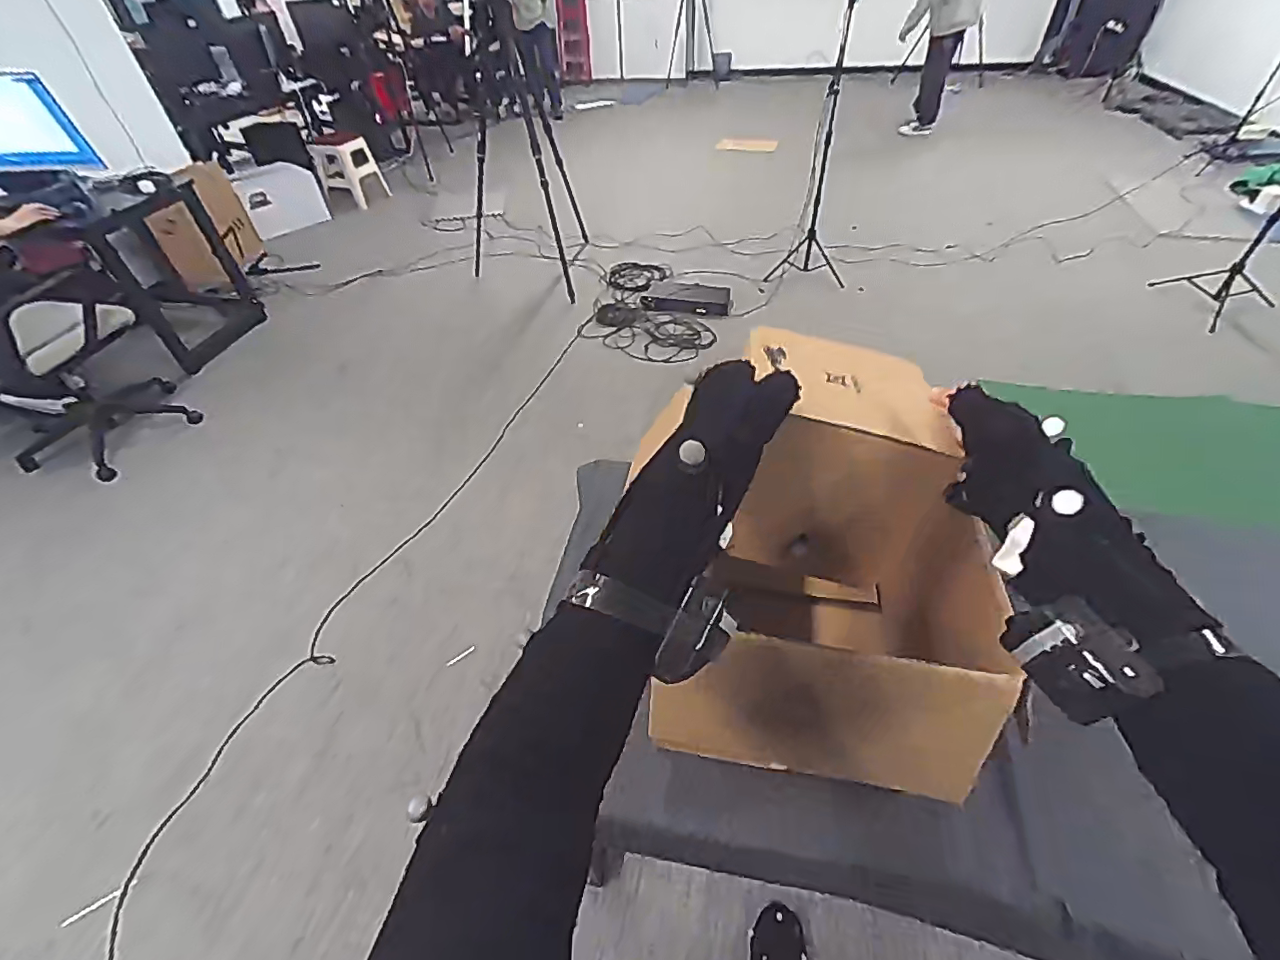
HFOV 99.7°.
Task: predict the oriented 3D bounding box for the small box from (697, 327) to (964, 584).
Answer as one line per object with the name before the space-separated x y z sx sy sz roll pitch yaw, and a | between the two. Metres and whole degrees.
small box | 0.168 -0.022 0.533 0.179 0.176 0.168 15 38 0
